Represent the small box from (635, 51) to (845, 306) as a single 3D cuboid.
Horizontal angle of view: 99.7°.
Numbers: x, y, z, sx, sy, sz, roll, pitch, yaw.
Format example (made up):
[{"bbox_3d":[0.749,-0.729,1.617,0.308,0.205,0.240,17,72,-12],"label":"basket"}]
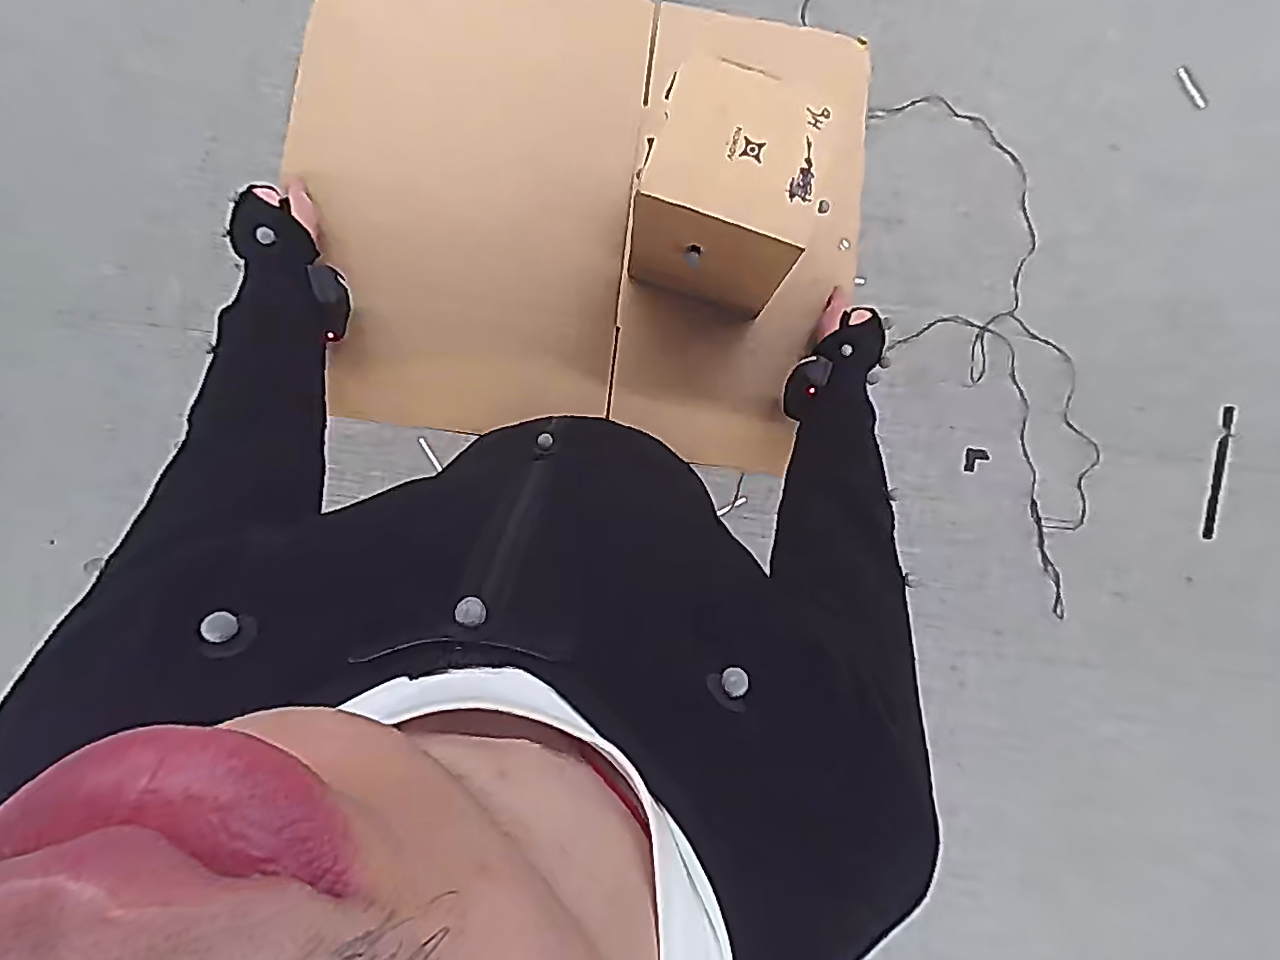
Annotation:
[{"bbox_3d":[0.098,-0.322,0.615,0.179,0.176,0.168,17,84,-1],"label":"small box"}]
